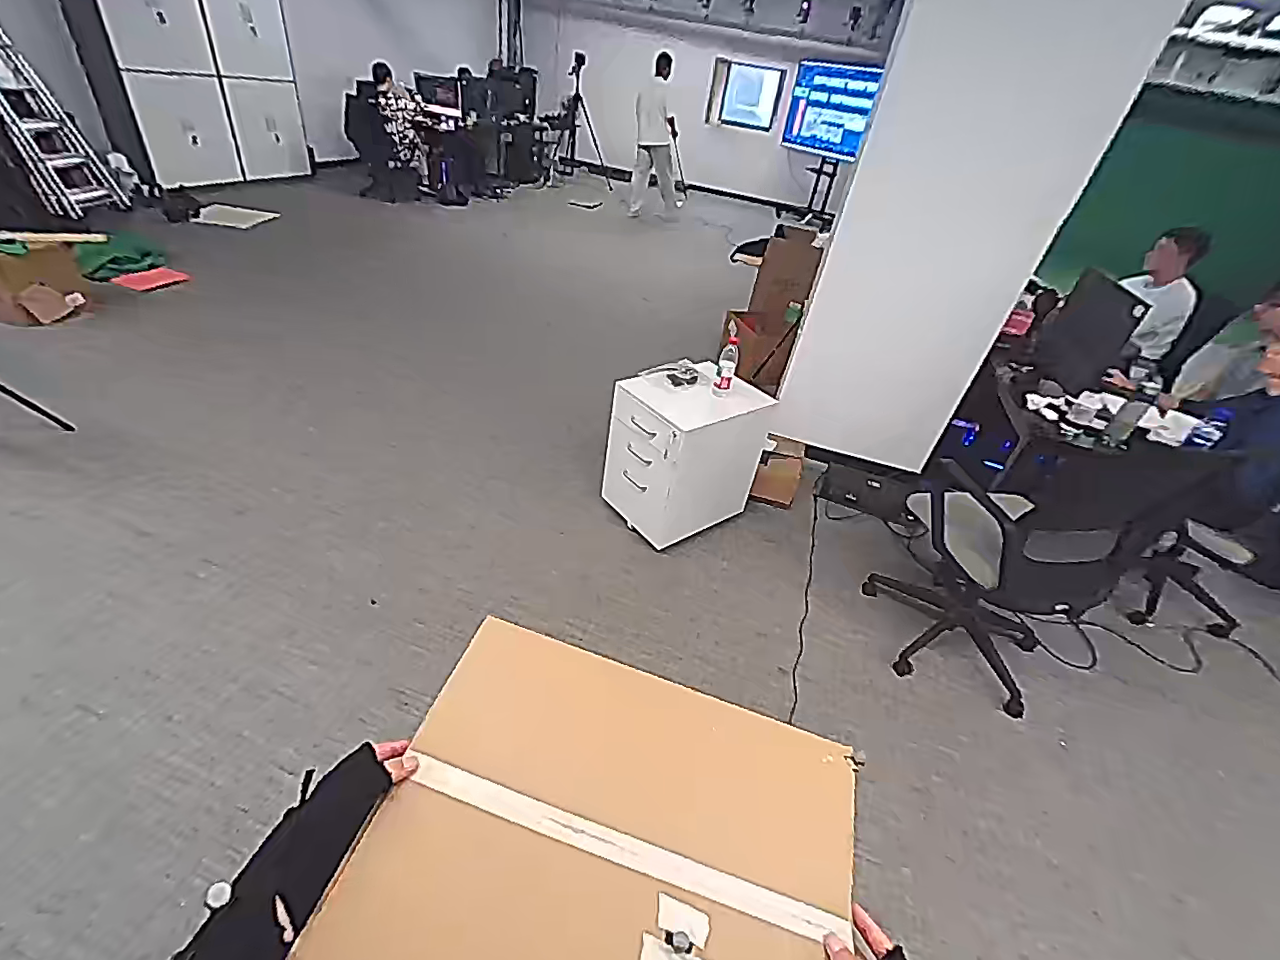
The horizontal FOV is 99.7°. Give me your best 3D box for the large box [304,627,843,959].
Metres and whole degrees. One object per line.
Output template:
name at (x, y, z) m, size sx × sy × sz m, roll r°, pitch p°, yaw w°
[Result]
large box at (-0.046, 0.420, 0.574) m, size 0.408 × 0.320 × 0.320 m, roll 19°, pitch 46°, yaw 5°
